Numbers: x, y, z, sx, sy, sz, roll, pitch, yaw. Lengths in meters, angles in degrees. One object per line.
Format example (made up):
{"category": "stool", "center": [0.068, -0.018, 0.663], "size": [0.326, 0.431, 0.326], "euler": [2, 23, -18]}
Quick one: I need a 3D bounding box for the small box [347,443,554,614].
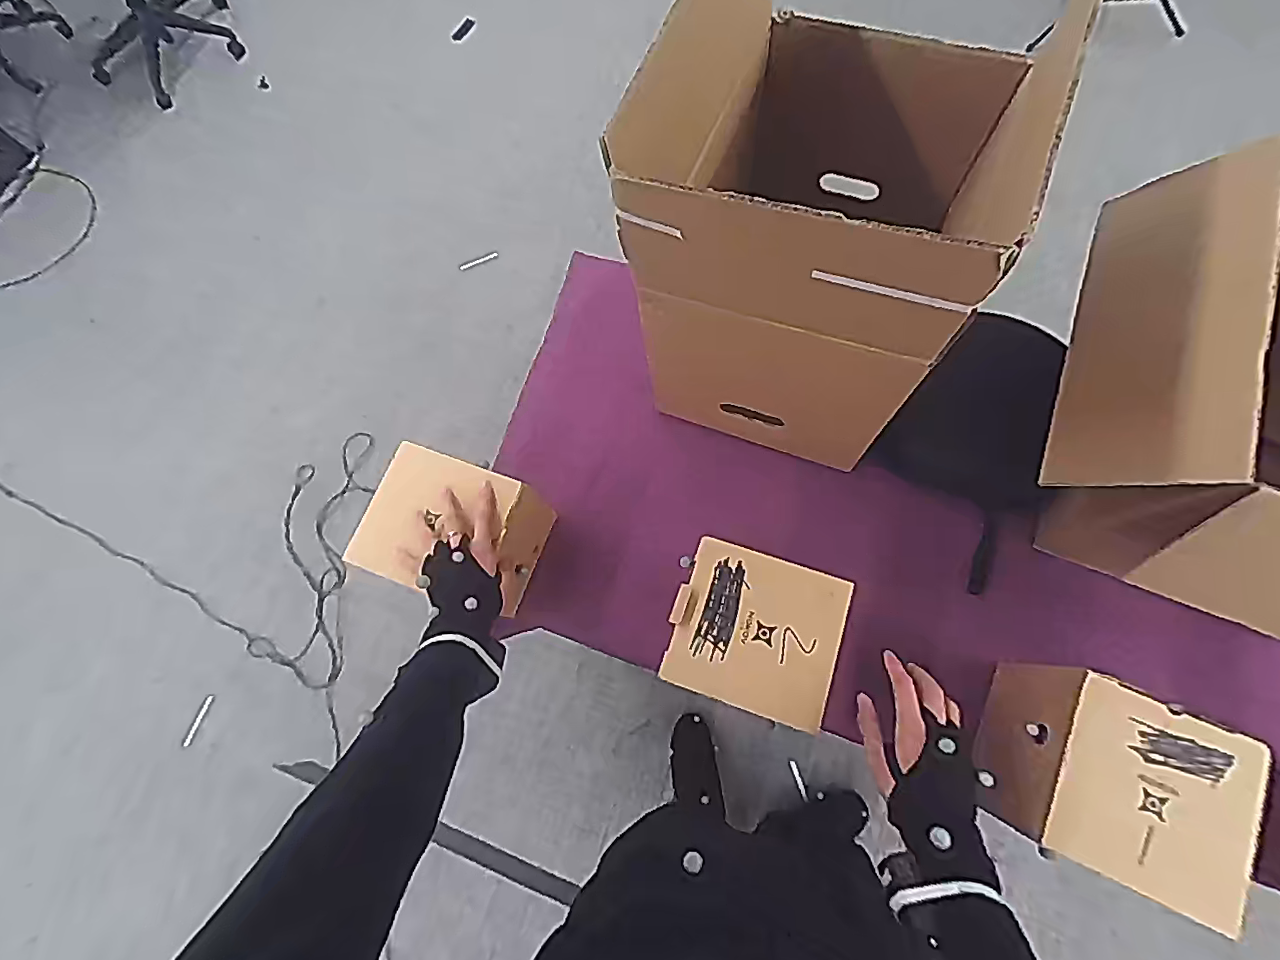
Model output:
{"category": "small box", "center": [-0.240, 0.075, 0.731], "size": [0.179, 0.176, 0.168], "euler": [19, 76, 10]}

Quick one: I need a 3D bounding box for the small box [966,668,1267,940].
{"category": "small box", "center": [0.490, 0.320, 0.584], "size": [0.168, 0.176, 0.179], "euler": [23, 78, 12]}
